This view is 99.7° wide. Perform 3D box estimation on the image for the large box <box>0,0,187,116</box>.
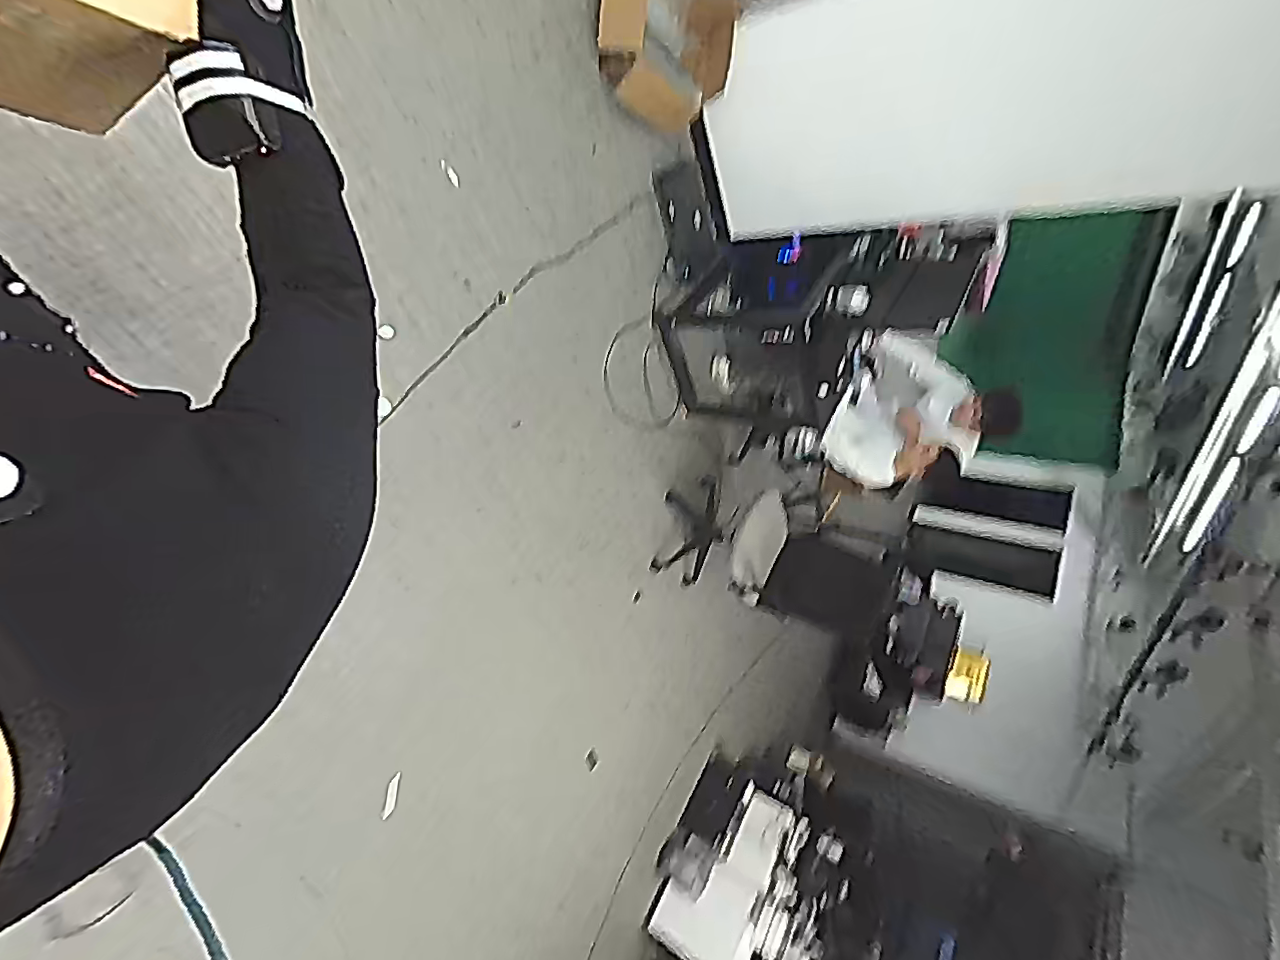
[{"bbox_3d":[-0.542,-0.457,0.271,0.408,0.320,0.320,-12,110,-52],"label":"large box"}]
